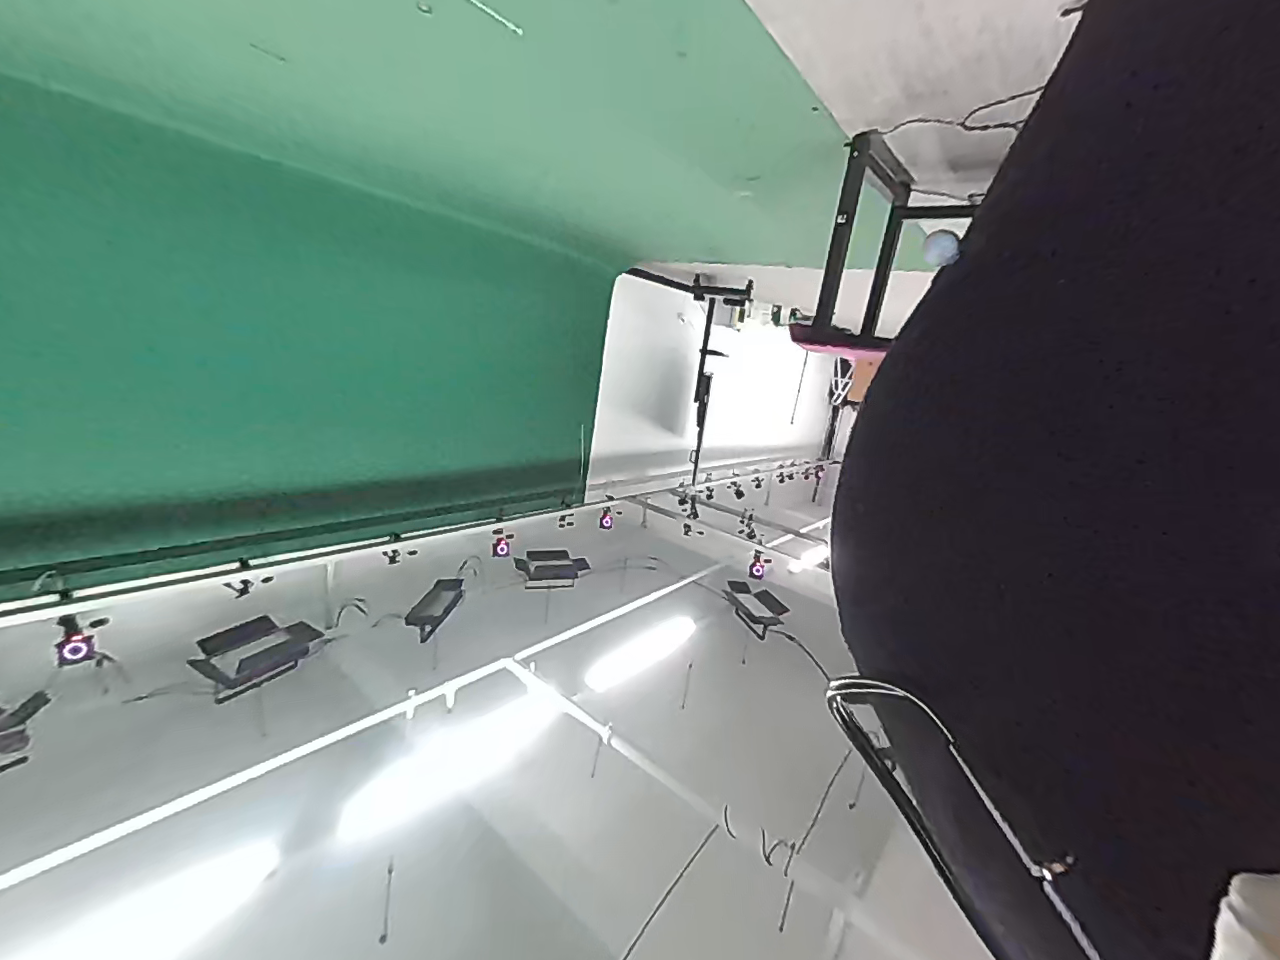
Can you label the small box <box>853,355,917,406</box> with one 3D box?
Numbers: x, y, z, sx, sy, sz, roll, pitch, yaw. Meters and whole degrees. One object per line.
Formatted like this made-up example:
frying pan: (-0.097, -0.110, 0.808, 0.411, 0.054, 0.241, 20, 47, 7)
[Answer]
small box: (0.946, -0.384, 2.081, 0.168, 0.176, 0.179, 18, -162, 38)
